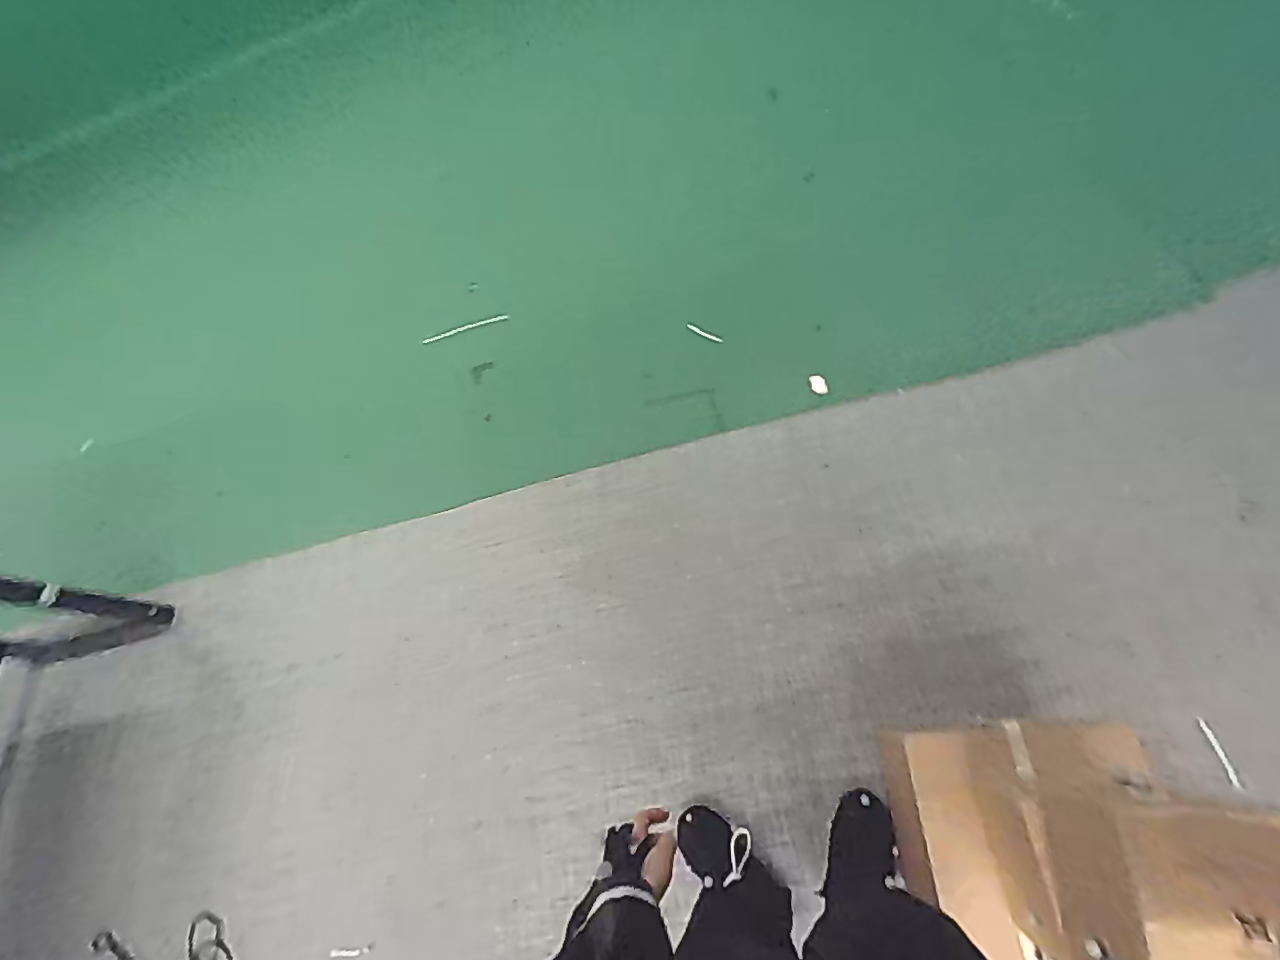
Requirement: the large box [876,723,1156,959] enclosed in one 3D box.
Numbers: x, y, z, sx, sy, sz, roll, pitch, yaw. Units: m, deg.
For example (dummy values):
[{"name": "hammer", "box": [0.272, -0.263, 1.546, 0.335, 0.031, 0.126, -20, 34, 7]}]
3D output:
[{"name": "large box", "box": [0.600, 0.617, 0.856, 0.320, 0.320, 0.408, -8, 66, 12]}]
